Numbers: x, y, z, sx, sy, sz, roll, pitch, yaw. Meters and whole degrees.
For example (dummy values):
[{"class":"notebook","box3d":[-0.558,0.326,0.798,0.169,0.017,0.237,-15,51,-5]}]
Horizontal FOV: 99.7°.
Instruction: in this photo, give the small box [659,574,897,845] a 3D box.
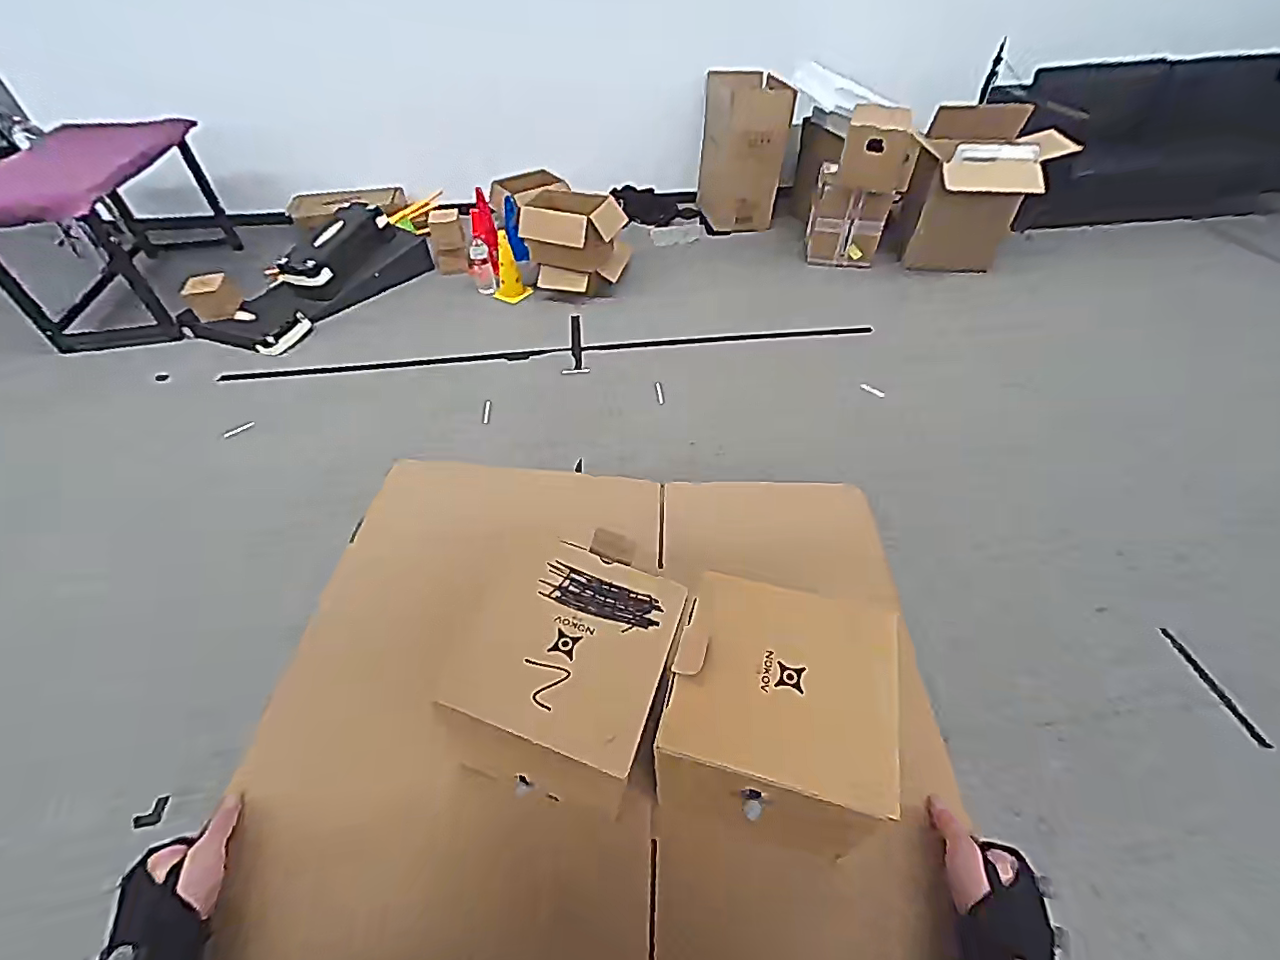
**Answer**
[{"class":"small box","box3d":[0.124,0.217,0.507,0.179,0.176,0.168,10,49,14]}]
